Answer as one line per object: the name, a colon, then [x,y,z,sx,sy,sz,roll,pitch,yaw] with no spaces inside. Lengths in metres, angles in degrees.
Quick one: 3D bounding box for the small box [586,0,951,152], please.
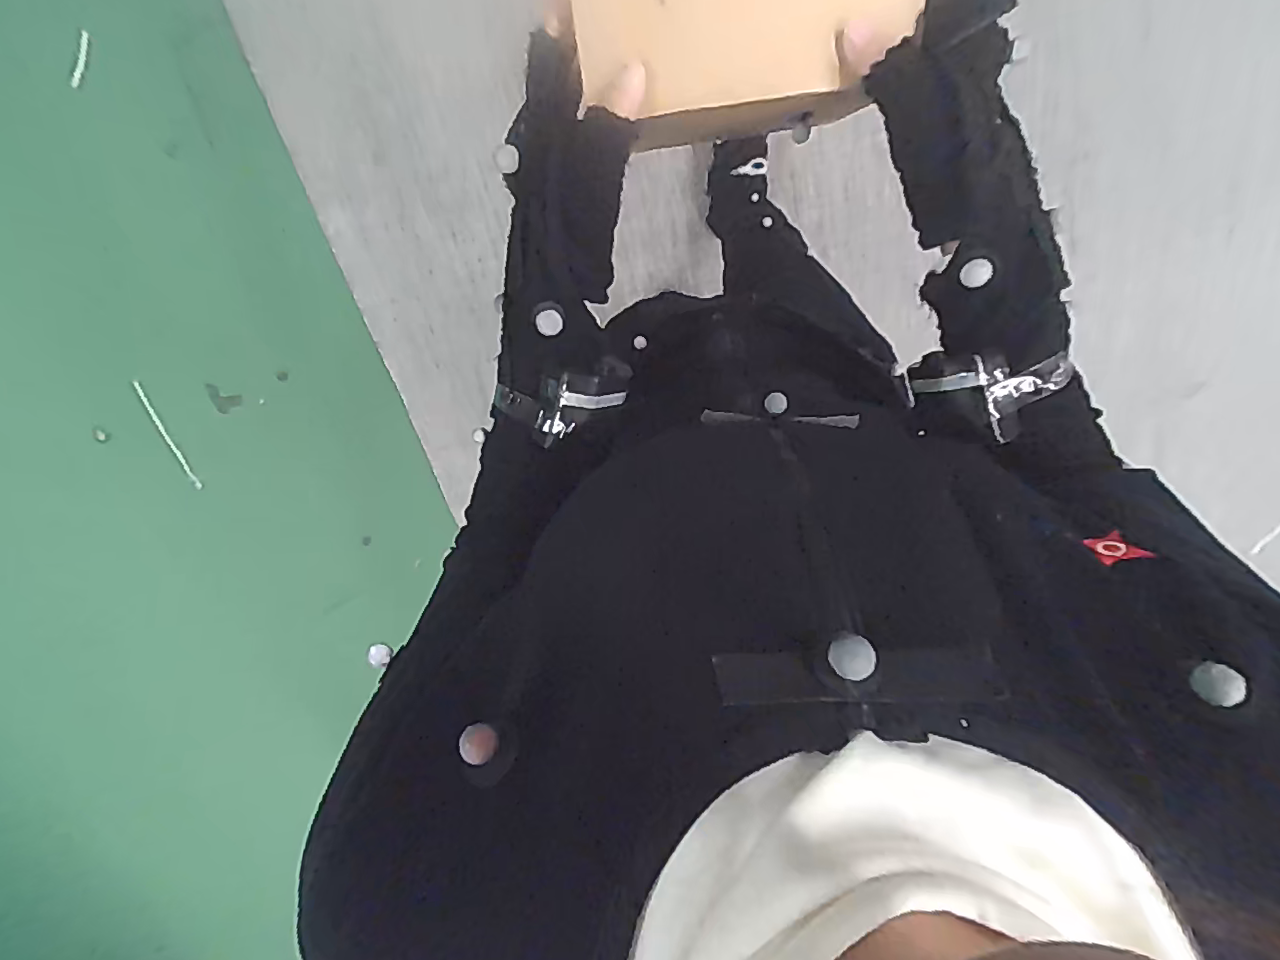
small box: [0.054,-0.306,0.313,0.179,0.176,0.168,-10,116,6]
